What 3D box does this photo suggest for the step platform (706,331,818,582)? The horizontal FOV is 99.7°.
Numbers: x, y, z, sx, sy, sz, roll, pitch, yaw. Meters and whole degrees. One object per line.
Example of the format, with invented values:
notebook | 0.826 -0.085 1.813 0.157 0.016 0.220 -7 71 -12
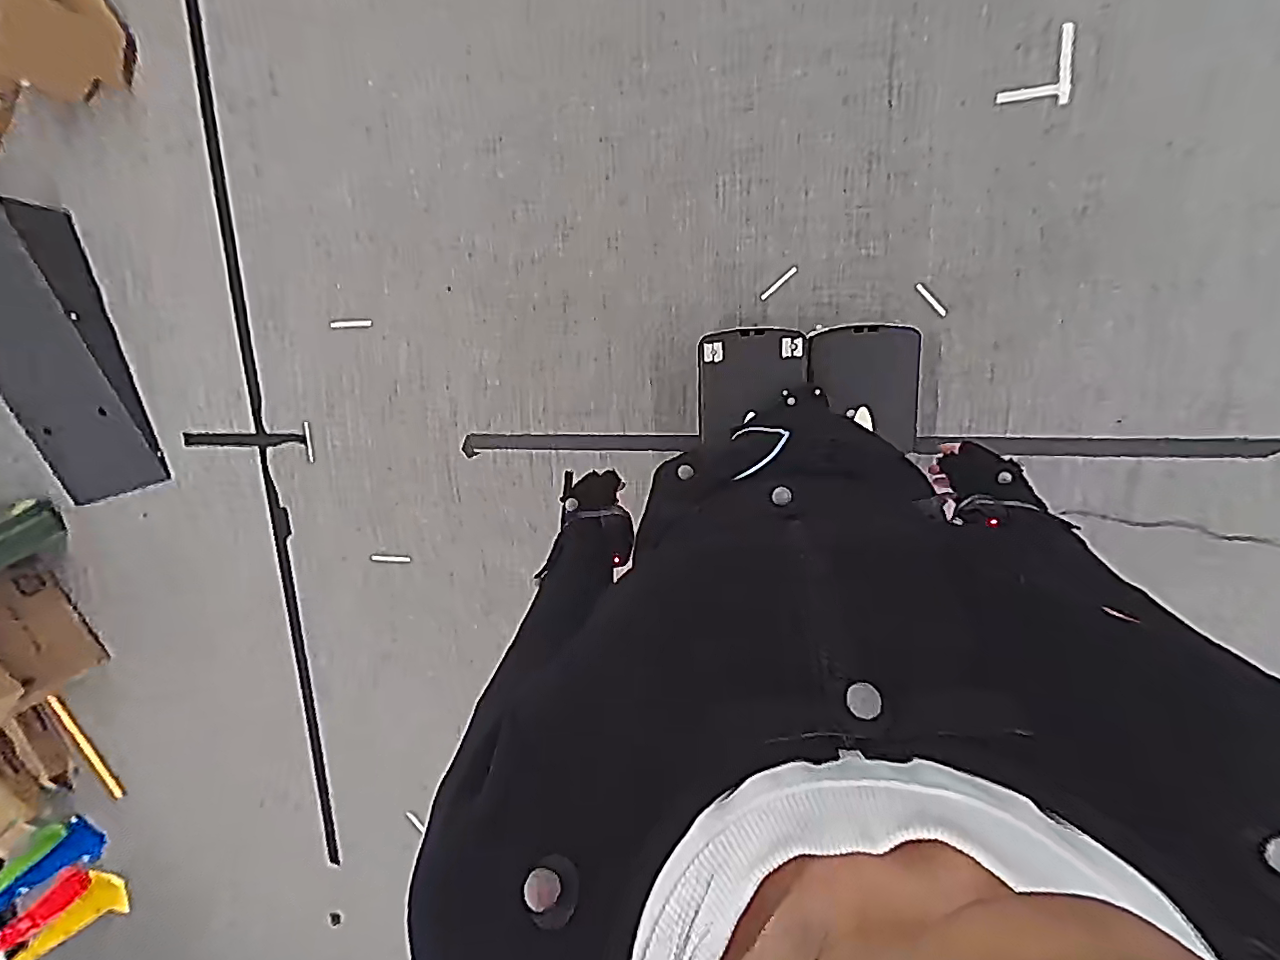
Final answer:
step platform | 0.336 -0.061 1.501 0.286 0.204 0.684 -1 99 11
